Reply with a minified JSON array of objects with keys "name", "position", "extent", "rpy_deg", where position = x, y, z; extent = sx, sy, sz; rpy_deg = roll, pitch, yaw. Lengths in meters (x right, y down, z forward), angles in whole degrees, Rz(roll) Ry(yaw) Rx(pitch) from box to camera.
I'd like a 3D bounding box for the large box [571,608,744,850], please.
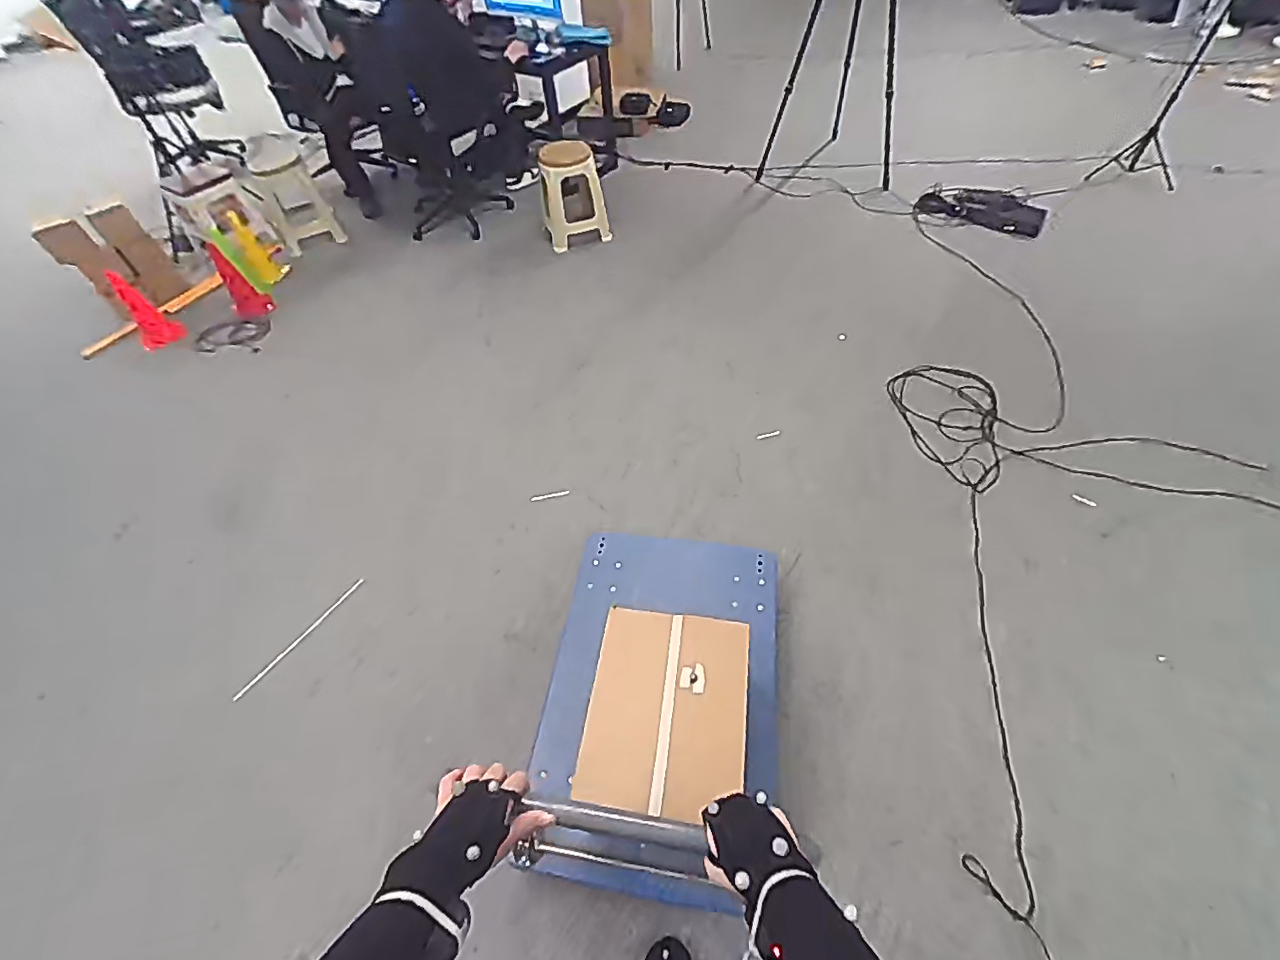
[{"name":"large box","position":[0.059,0.553,1.209],"extent":[0.320,0.320,0.408],"rpy_deg":[6,51,8]}]
